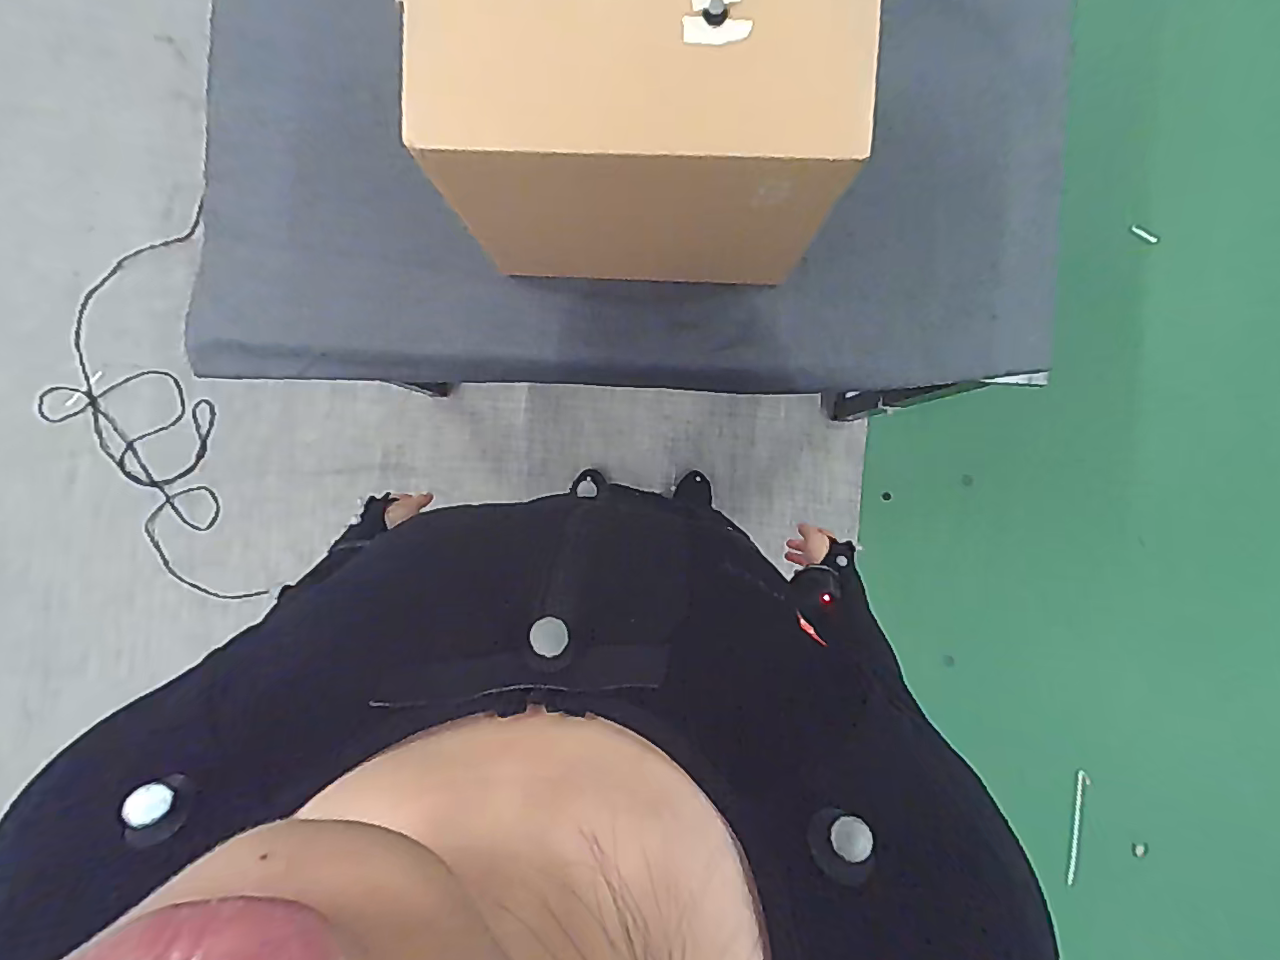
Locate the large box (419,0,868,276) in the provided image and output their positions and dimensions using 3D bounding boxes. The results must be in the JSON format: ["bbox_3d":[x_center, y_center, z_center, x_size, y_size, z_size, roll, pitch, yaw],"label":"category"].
[{"bbox_3d":[0.005,-0.443,0.625,0.408,0.320,0.320,2,92,1],"label":"large box"}]
